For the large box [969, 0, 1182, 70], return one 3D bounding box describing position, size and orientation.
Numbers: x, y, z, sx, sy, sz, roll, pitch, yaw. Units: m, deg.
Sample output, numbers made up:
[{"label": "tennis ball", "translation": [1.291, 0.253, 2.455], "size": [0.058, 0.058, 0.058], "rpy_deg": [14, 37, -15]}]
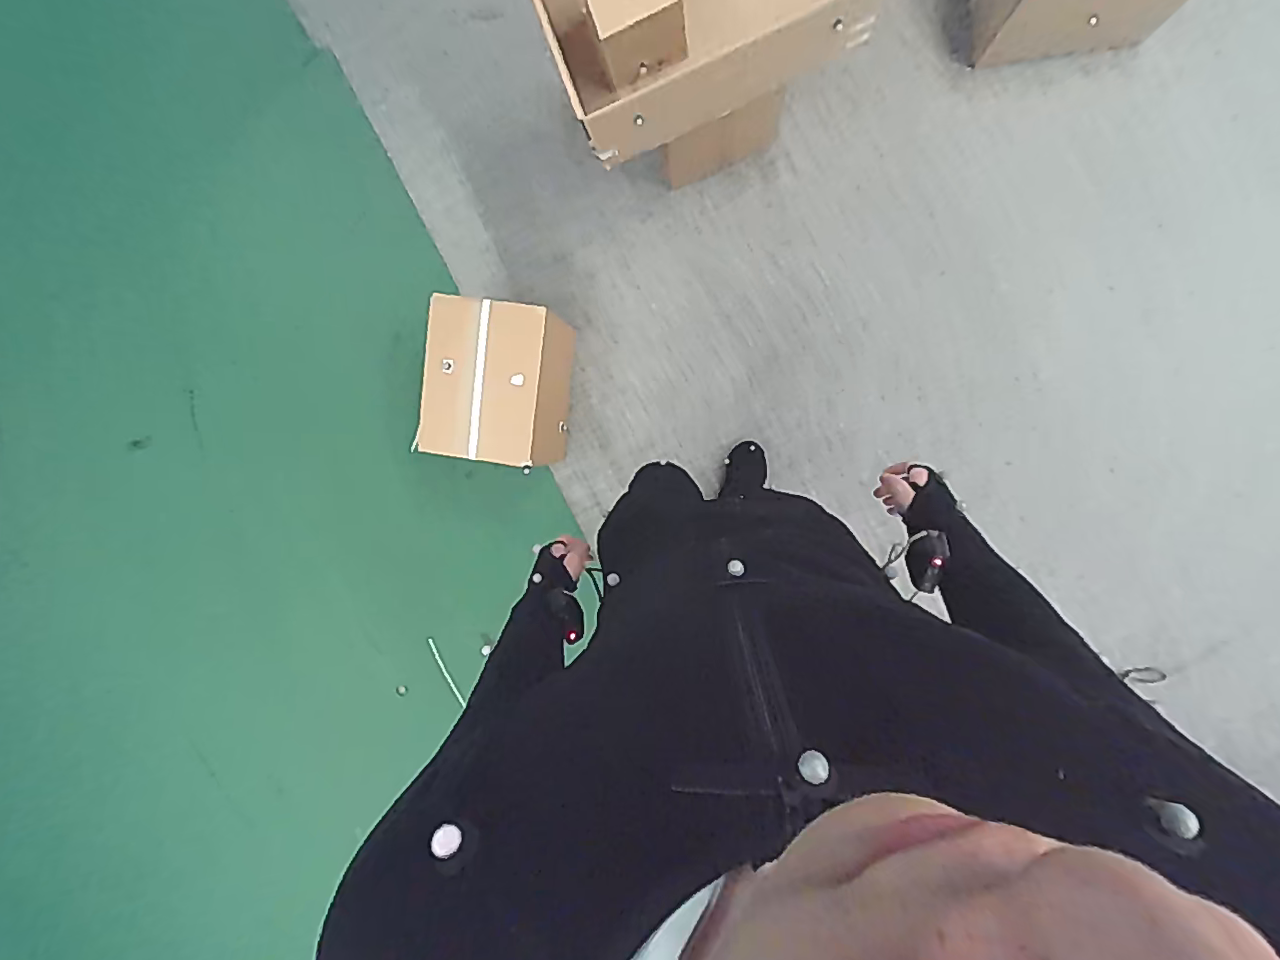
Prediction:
[{"label": "large box", "translation": [1.035, -1.228, 1.238], "size": [0.408, 0.320, 0.320], "rpy_deg": [-4, 94, 9]}]
